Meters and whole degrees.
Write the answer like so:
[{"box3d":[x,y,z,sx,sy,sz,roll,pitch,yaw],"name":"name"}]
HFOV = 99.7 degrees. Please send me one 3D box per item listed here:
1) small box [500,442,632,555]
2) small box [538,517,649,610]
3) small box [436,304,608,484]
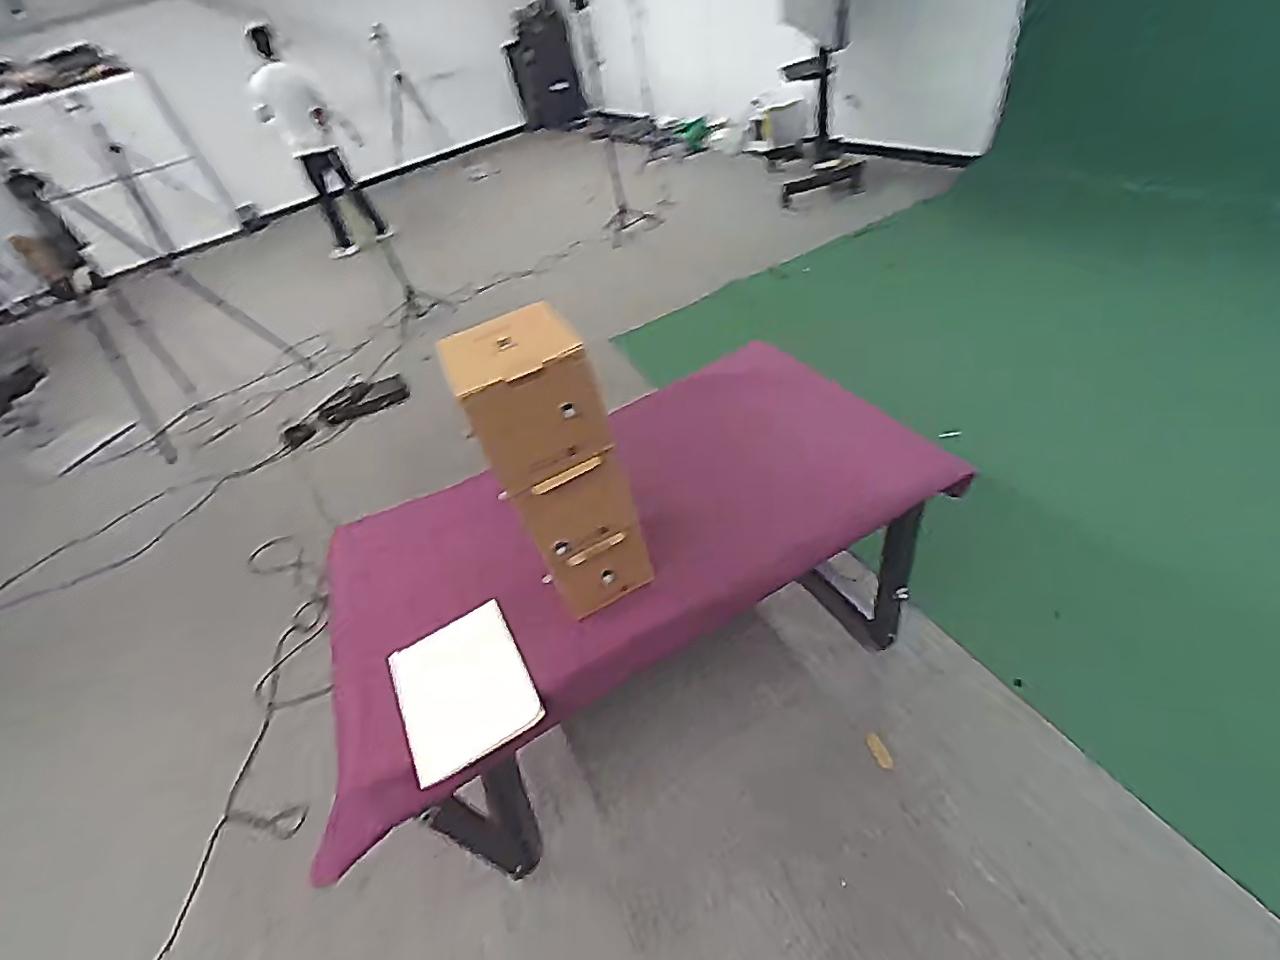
[{"box3d":[-0.131,-0.002,0.873,0.168,0.176,0.179,-26,42,-12],"name":"small box"},{"box3d":[-0.100,0.112,0.988,0.168,0.176,0.179,-26,44,-12],"name":"small box"},{"box3d":[-0.161,-0.116,0.760,0.168,0.176,0.179,-25,42,-11],"name":"small box"}]
